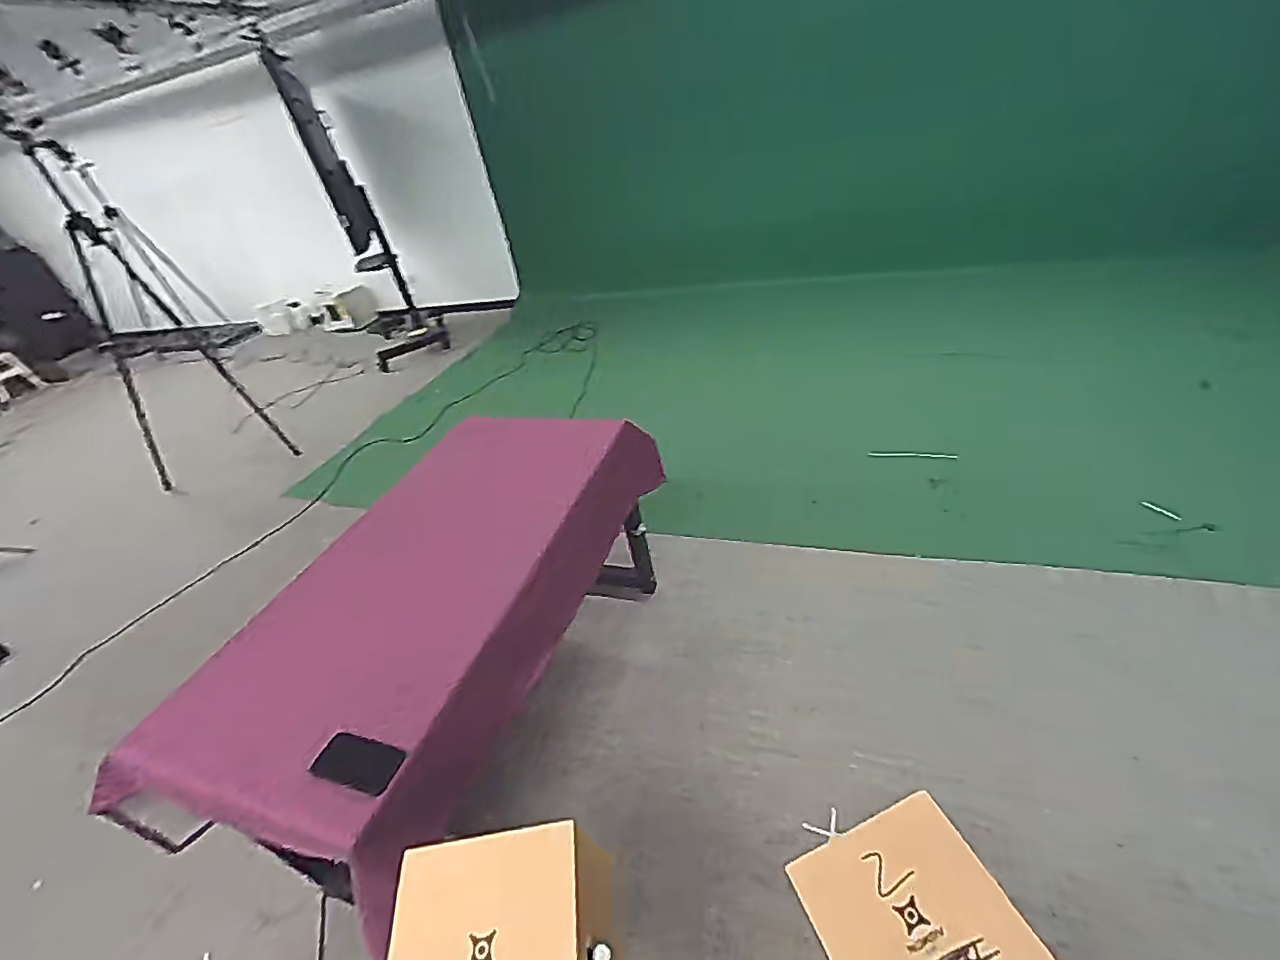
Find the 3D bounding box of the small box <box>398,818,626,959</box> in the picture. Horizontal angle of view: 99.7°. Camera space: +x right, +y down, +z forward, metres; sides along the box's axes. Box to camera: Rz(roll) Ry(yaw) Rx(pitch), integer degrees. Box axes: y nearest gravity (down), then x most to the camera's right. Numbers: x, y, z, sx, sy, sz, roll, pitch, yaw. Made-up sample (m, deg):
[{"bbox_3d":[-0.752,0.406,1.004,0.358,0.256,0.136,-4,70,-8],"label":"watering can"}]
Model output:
[{"bbox_3d":[-0.110,0.447,0.508,0.168,0.176,0.179,-12,46,4],"label":"small box"}]
